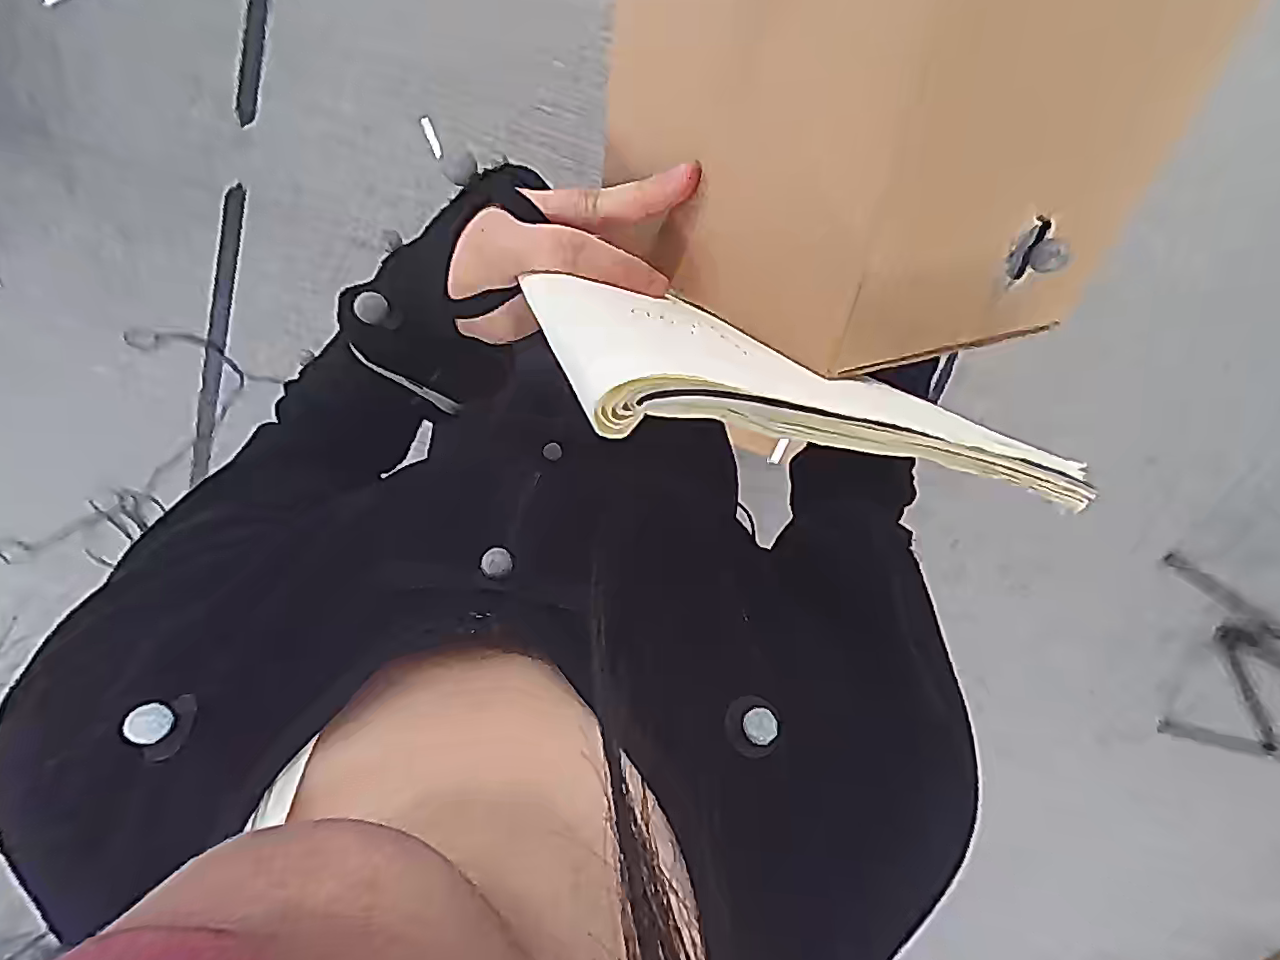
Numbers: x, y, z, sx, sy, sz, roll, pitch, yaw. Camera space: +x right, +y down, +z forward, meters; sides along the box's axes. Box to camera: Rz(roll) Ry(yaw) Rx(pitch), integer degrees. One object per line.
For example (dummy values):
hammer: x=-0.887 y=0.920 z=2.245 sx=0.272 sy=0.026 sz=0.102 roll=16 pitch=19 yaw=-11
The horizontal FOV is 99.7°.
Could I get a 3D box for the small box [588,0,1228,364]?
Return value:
small box: x=0.096 y=-0.168 z=0.223 sx=0.179 sy=0.168 sz=0.176 roll=-15 pitch=131 yaw=-29
